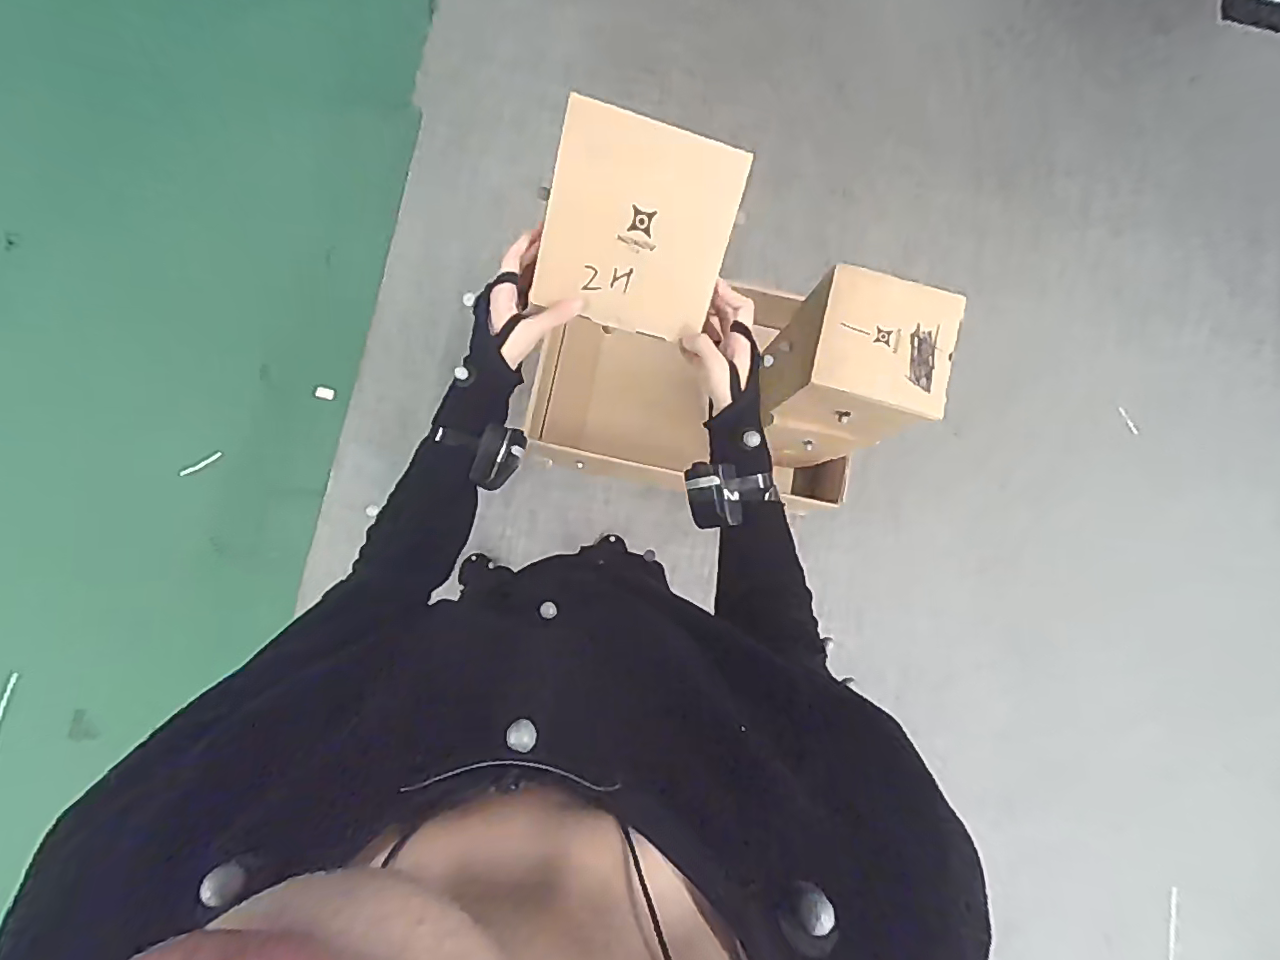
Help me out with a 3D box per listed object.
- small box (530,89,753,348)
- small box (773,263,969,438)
[{"bbox_3d":[-0.007,-0.252,0.557,0.168,0.176,0.179,14,108,-9],"label":"small box"},{"bbox_3d":[0.306,-0.164,0.748,0.179,0.176,0.168,15,83,-1],"label":"small box"}]
